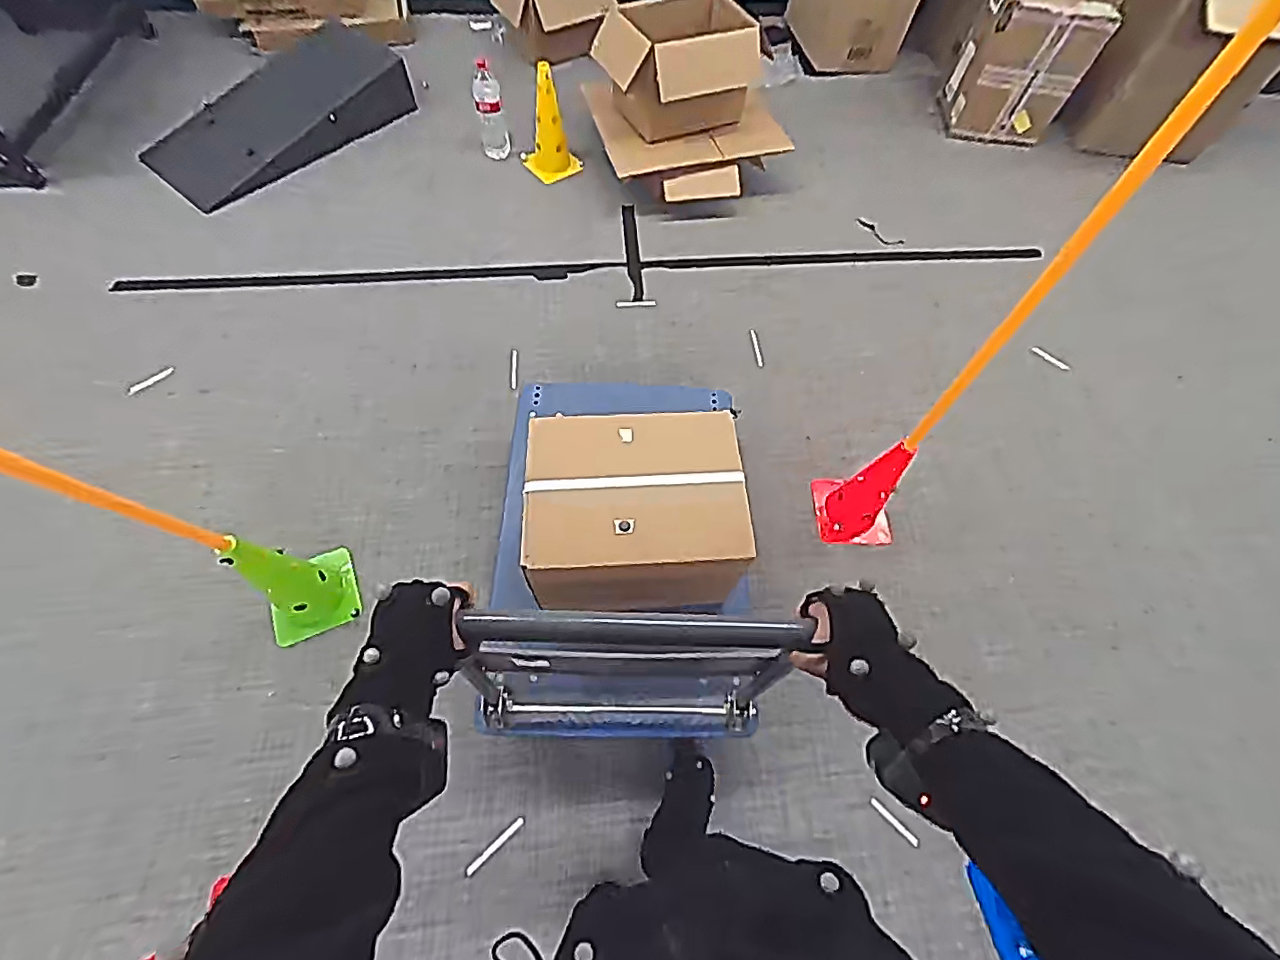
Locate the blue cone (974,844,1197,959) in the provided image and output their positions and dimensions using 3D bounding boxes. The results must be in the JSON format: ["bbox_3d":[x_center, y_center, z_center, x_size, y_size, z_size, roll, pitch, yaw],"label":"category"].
[{"bbox_3d":[0.815,0.799,0.970,0.193,0.380,0.192,-7,61,-7],"label":"blue cone"}]

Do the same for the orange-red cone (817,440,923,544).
[{"bbox_3d":[0.609,0.005,1.367,0.199,0.360,0.198,3,62,-2],"label":"orange-red cone"}]
